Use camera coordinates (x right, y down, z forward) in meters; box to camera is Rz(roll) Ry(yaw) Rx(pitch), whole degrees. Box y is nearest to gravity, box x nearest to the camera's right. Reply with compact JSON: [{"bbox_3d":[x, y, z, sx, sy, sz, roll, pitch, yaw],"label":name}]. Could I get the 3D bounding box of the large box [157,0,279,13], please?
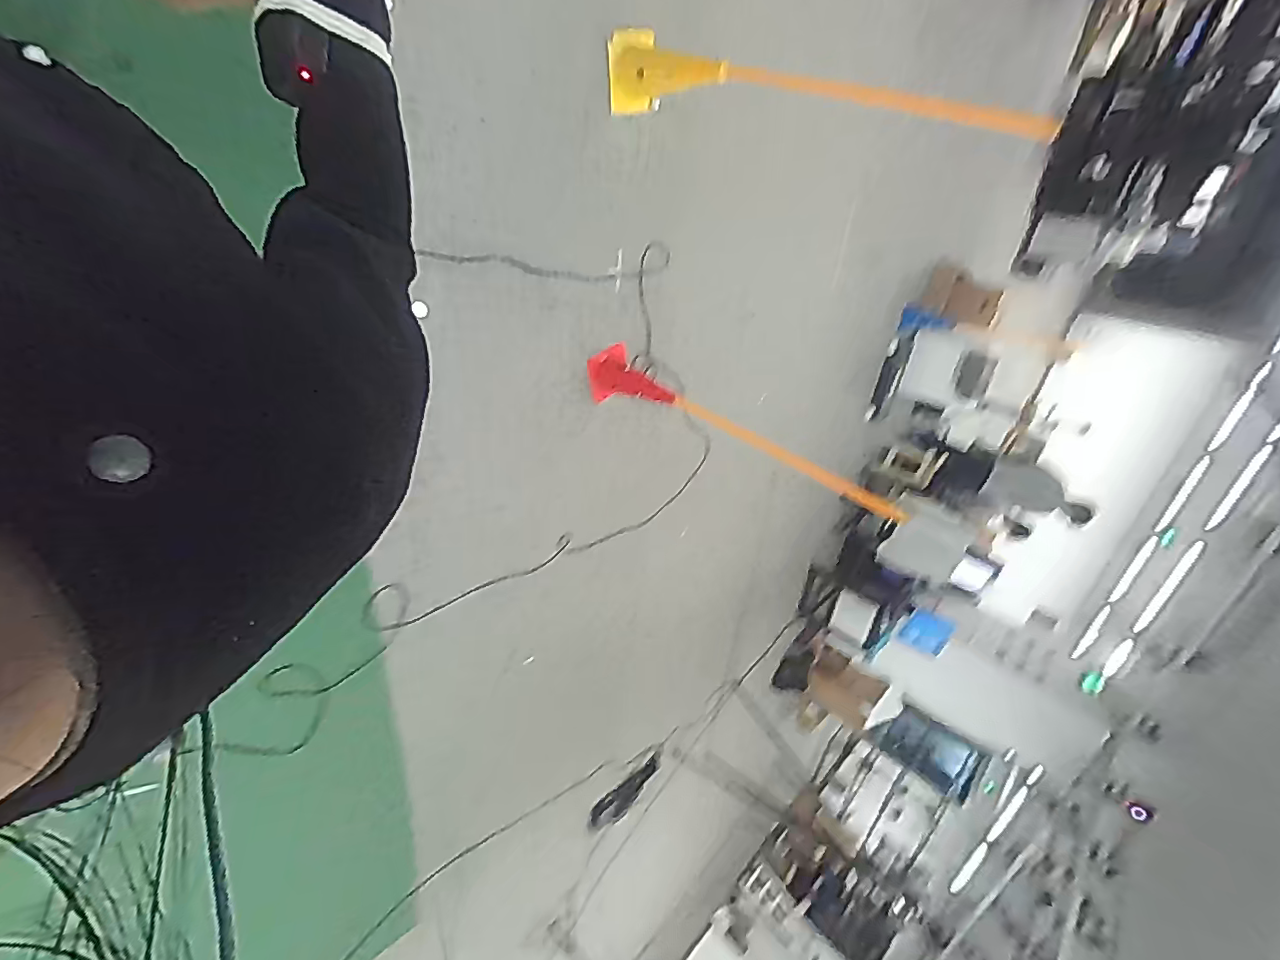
[{"bbox_3d":[-0.464,-0.554,0.309,0.408,0.320,0.320,-9,121,-49],"label":"large box"}]
